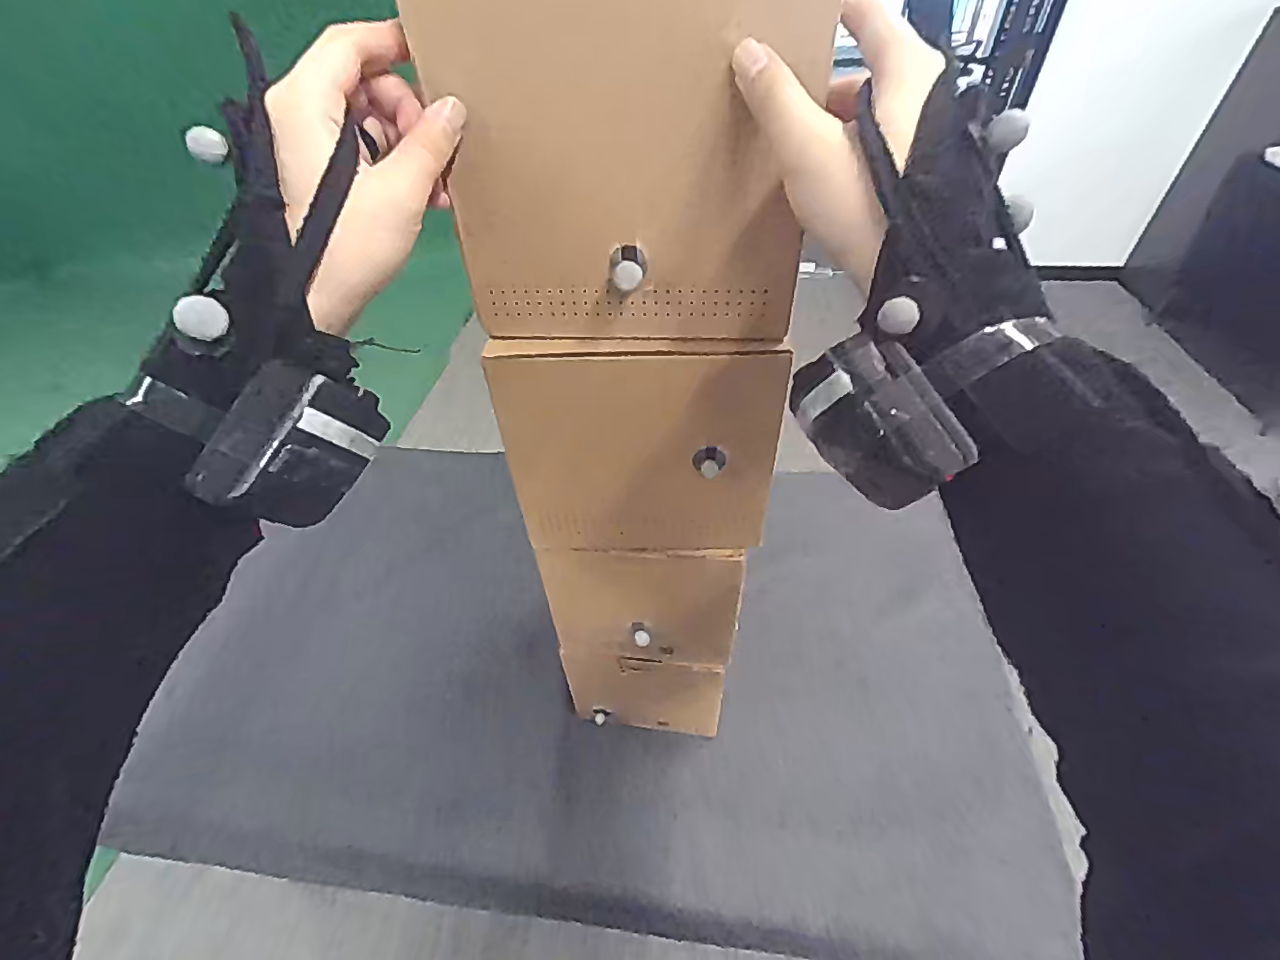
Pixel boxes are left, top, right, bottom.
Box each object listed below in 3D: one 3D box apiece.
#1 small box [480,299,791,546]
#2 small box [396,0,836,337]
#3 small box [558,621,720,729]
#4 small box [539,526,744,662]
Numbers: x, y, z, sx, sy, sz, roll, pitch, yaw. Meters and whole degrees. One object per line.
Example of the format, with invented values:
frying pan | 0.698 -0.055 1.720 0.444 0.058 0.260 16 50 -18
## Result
small box | 0.002 -0.063 0.410 0.179 0.176 0.168 -1 42 3
small box | -0.004 -0.194 0.309 0.179 0.176 0.168 2 42 5
small box | 0.014 0.171 0.639 0.168 0.176 0.179 5 44 8
small box | 0.010 0.051 0.526 0.168 0.176 0.179 3 45 7
